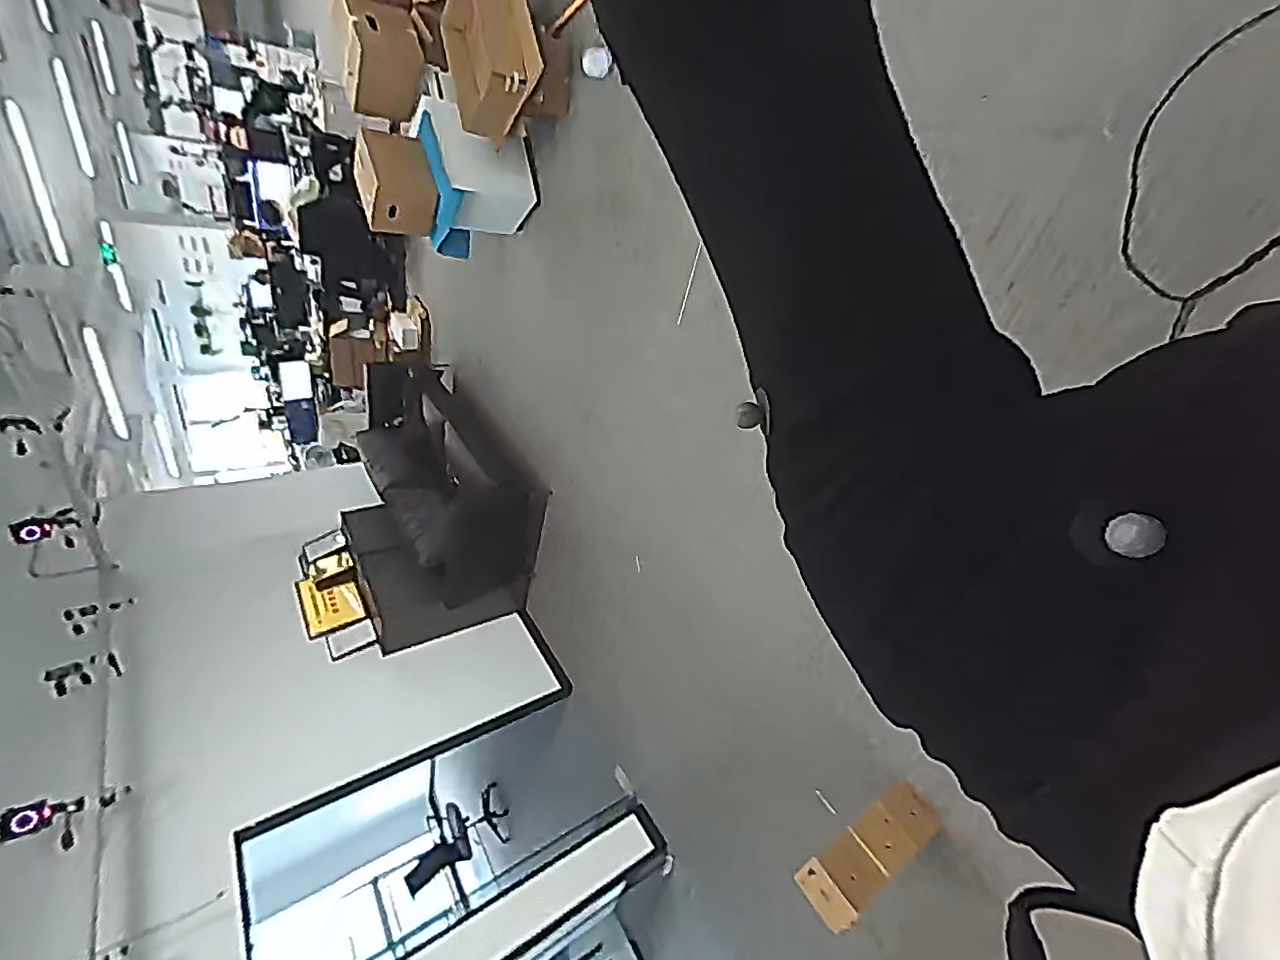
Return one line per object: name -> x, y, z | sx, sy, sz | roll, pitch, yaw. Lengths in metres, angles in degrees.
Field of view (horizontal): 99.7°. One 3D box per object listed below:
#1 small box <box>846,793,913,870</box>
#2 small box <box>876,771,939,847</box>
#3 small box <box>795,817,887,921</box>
small box -> 0.759, 1.169, 1.768 | 0.168, 0.176, 0.179 | 46, 134, 37
small box -> 0.890, 1.144, 1.859 | 0.168, 0.176, 0.179 | 49, 135, 36
small box -> 0.625, 1.201, 1.677 | 0.179, 0.176, 0.168 | 46, 134, 36
